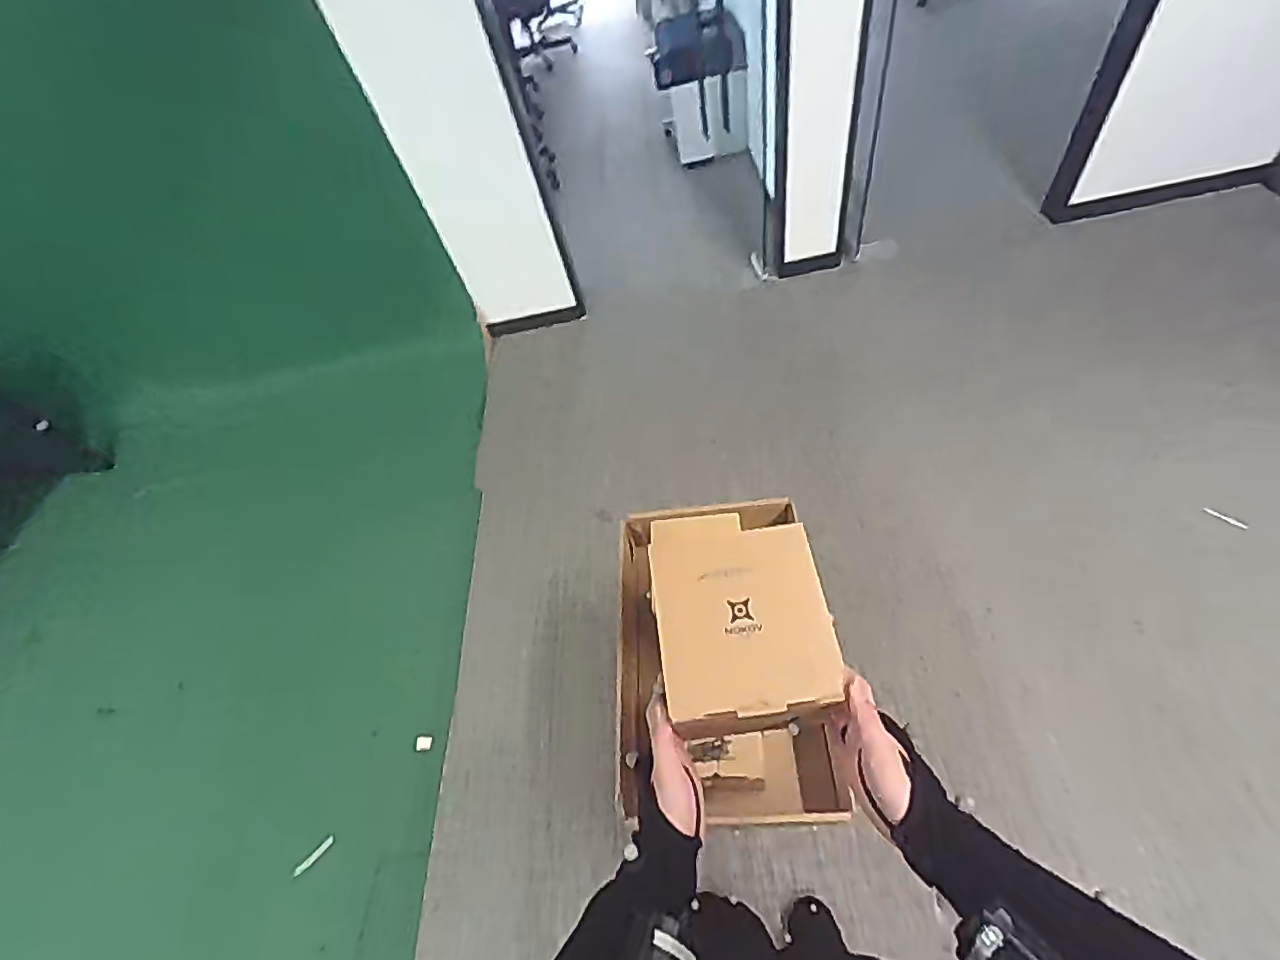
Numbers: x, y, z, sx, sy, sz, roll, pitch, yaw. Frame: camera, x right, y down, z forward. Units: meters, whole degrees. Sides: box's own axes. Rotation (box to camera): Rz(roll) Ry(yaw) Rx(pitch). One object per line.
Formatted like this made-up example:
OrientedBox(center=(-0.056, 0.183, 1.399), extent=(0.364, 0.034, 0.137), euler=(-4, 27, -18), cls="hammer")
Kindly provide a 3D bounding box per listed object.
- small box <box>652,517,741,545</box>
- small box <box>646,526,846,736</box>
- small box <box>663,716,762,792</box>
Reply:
OrientedBox(center=(0.113, 0.190, 1.017), extent=(0.168, 0.176, 0.179), euler=(-6, 56, 8), cls="small box")
OrientedBox(center=(0.103, 0.172, 0.587), extent=(0.168, 0.176, 0.179), euler=(-8, 58, 1), cls="small box")
OrientedBox(center=(0.136, 0.474, 1.006), extent=(0.168, 0.176, 0.179), euler=(-5, 52, 8), cls="small box")
